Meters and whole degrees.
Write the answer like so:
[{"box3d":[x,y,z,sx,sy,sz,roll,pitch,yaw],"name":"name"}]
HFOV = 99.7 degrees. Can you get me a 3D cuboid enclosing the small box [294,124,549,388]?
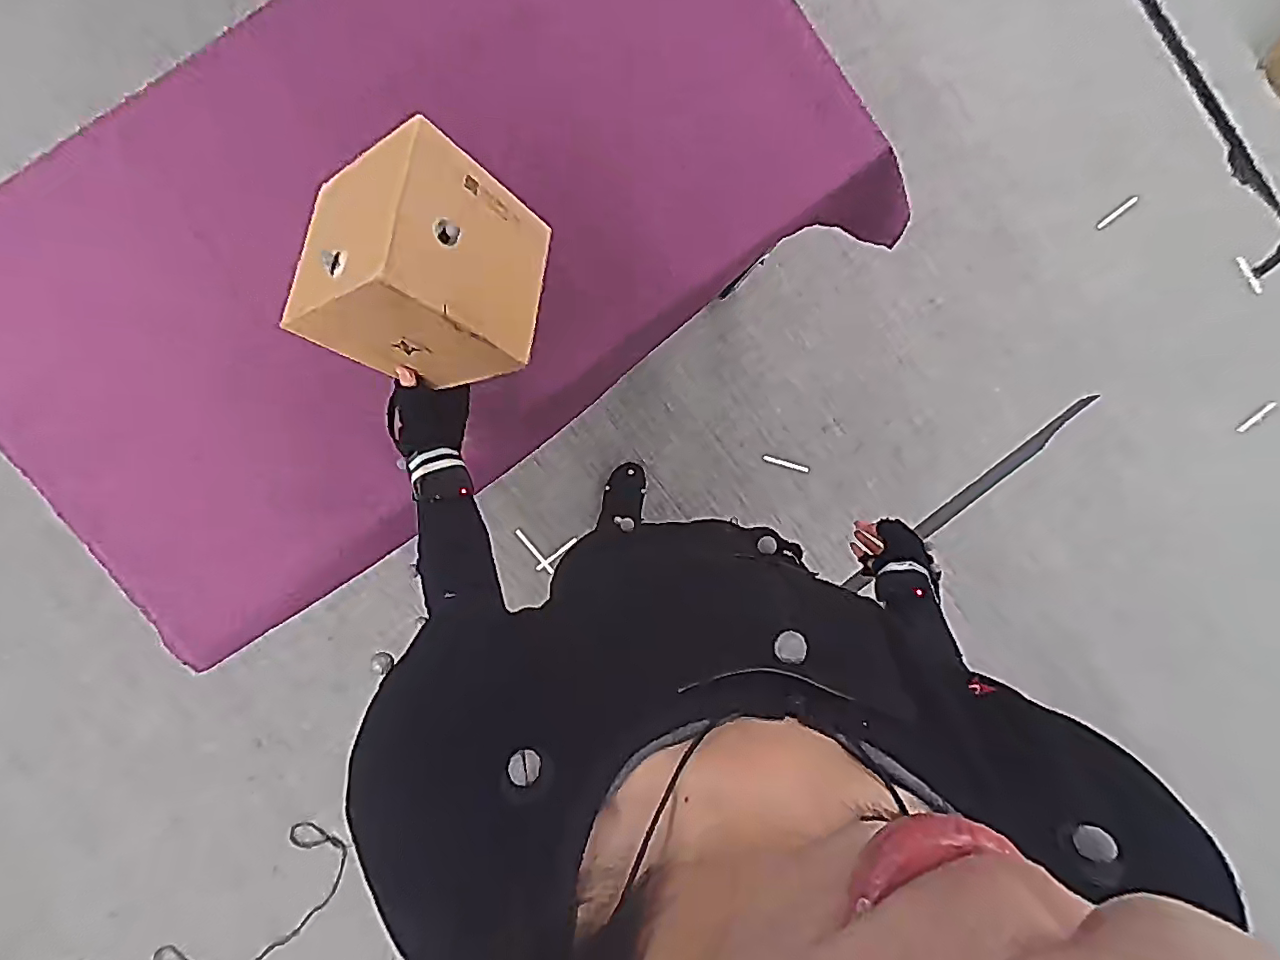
[{"box3d":[-0.211,-0.211,0.550,0.179,0.168,0.176,-1,74,38],"name":"small box"}]
